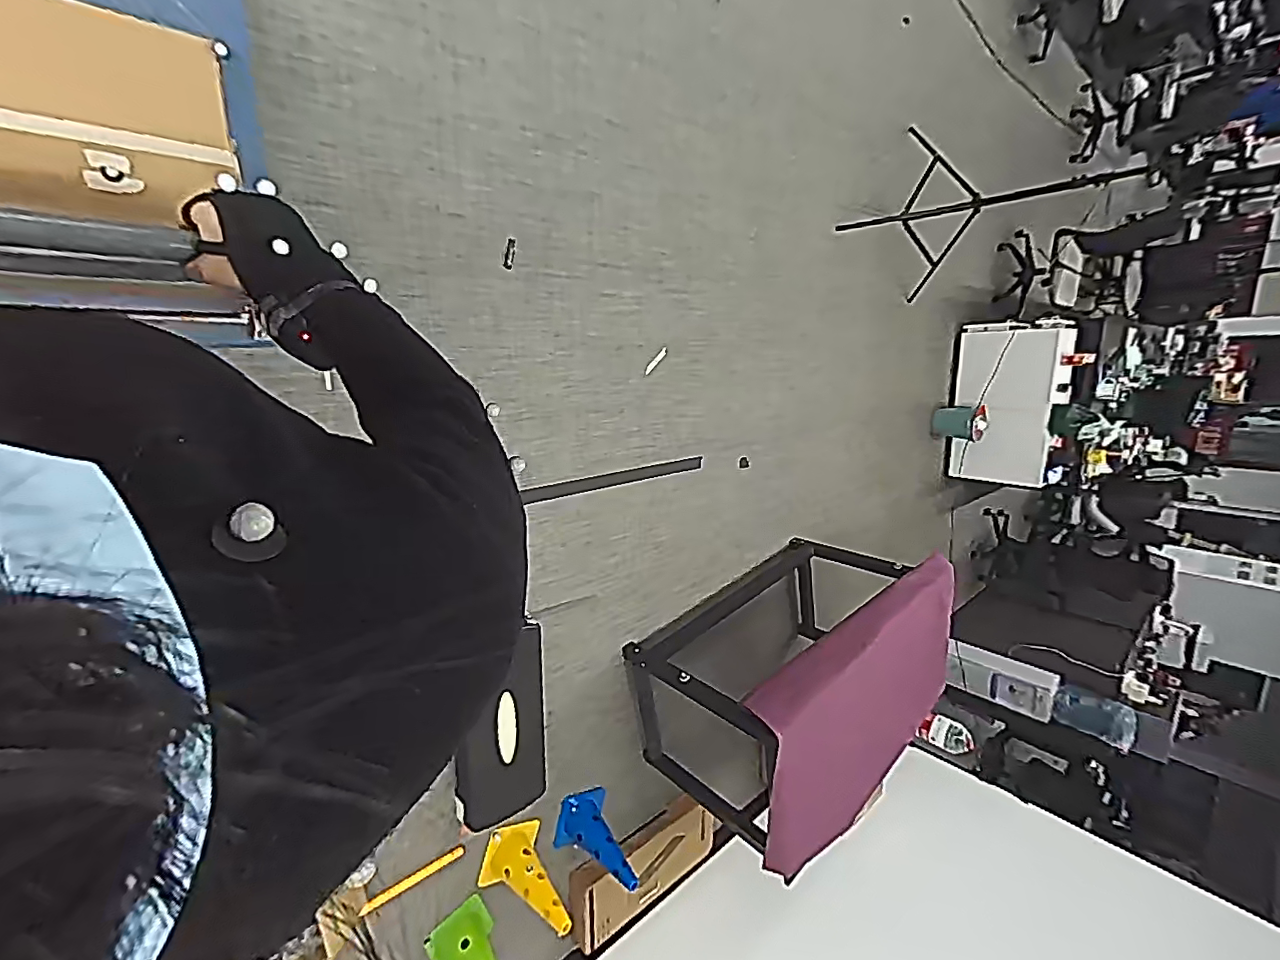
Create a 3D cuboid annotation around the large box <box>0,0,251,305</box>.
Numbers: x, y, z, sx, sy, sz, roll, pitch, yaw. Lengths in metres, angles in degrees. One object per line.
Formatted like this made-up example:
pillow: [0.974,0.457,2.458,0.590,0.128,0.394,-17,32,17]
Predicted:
large box: [-0.837,-0.435,0.766,0.408,0.320,0.320,-11,105,-40]
